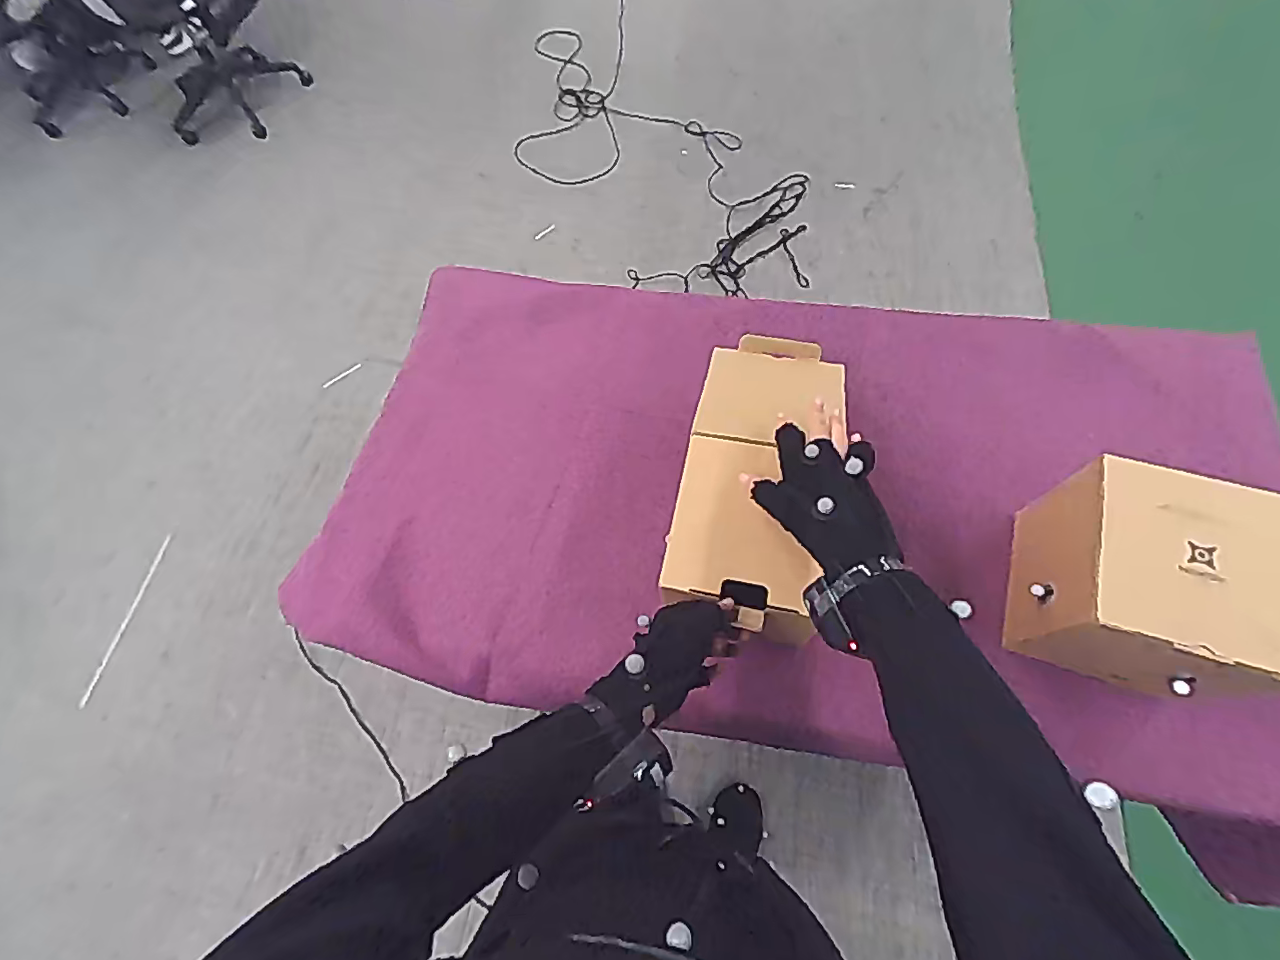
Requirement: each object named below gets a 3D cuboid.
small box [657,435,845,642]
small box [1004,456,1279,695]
[{"bbox_3d":[0.123,0.074,0.614,0.168,0.176,0.179,10,66,11],"label":"small box"},{"bbox_3d":[0.506,0.106,0.554,0.168,0.176,0.179,17,68,14],"label":"small box"}]
